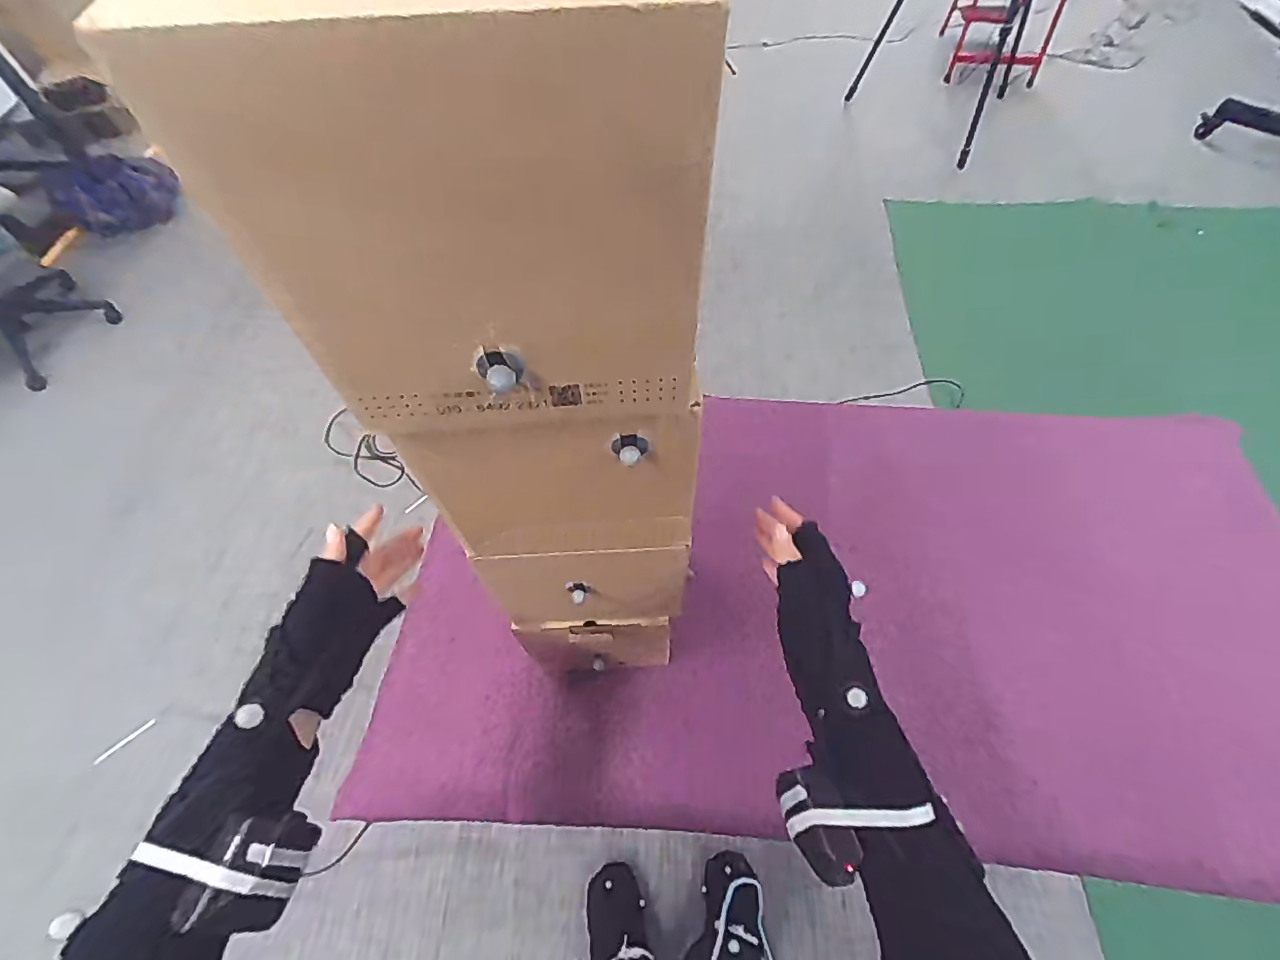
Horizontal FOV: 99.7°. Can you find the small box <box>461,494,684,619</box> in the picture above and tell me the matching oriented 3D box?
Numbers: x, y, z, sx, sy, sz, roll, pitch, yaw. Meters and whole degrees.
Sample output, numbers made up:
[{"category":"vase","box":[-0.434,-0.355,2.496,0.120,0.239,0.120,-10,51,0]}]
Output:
[{"category":"small box","box":[-0.051,0.029,0.528,0.179,0.176,0.168,-1,55,1]}]

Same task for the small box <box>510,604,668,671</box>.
[{"category":"small box","box":[-0.053,0.123,0.666,0.168,0.176,0.179,-3,57,1]}]

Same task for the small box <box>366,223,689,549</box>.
[{"category":"small box","box":[-0.059,-0.059,0.394,0.179,0.176,0.168,-3,57,0]}]
